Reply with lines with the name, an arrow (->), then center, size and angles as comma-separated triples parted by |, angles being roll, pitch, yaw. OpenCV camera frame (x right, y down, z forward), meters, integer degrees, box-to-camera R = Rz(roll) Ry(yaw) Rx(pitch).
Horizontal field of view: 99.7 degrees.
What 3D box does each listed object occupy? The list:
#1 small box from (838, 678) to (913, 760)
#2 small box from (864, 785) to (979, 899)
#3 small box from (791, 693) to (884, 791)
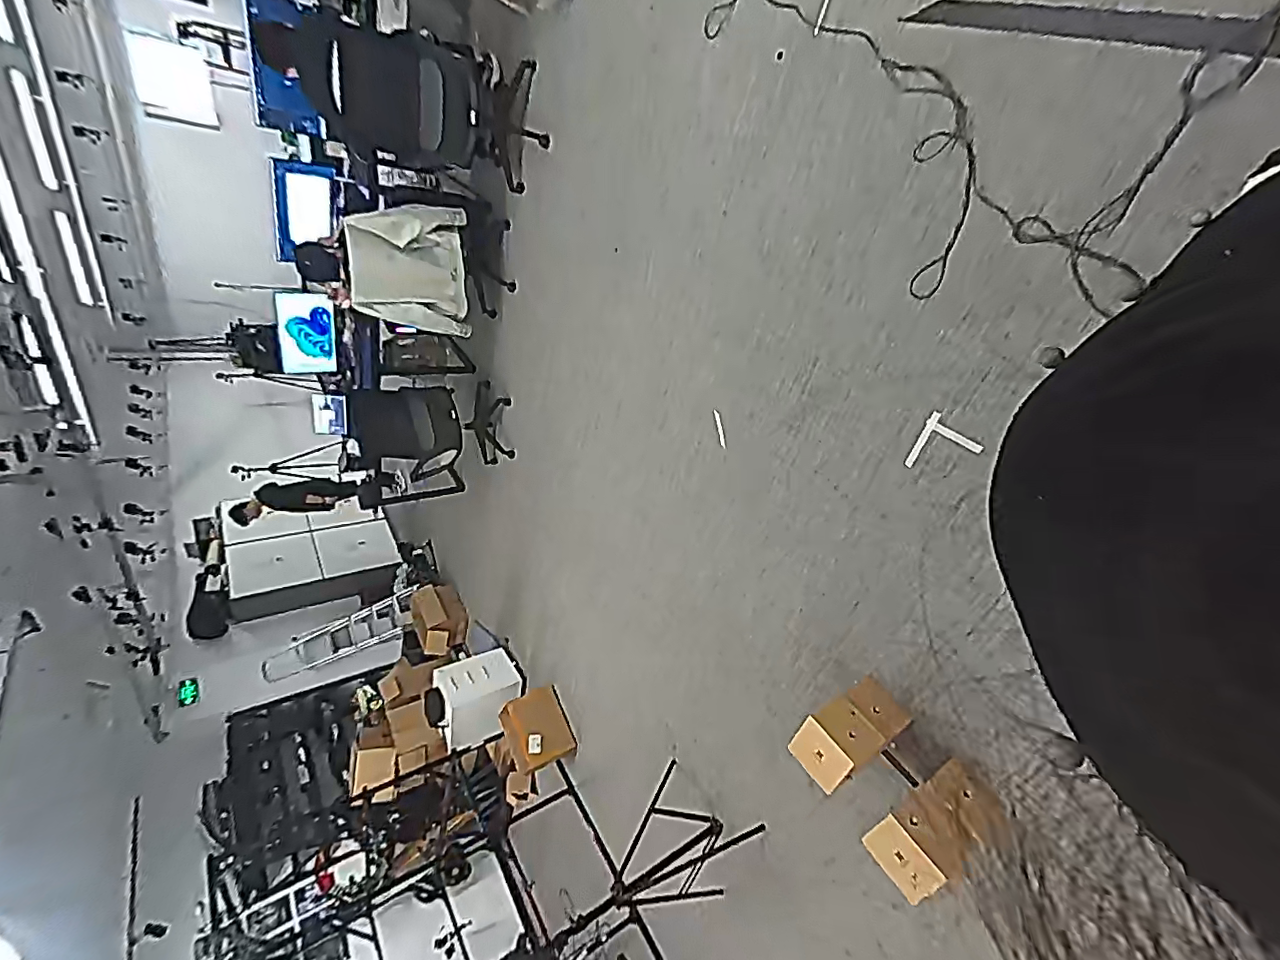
small box -> 0.716, 0.752, 1.708 | 0.179, 0.176, 0.168 | 46, 133, 36
small box -> 0.743, 0.947, 1.433 | 0.179, 0.176, 0.168 | 47, 135, 37
small box -> 0.591, 0.770, 1.604 | 0.168, 0.176, 0.179 | 45, 133, 38
